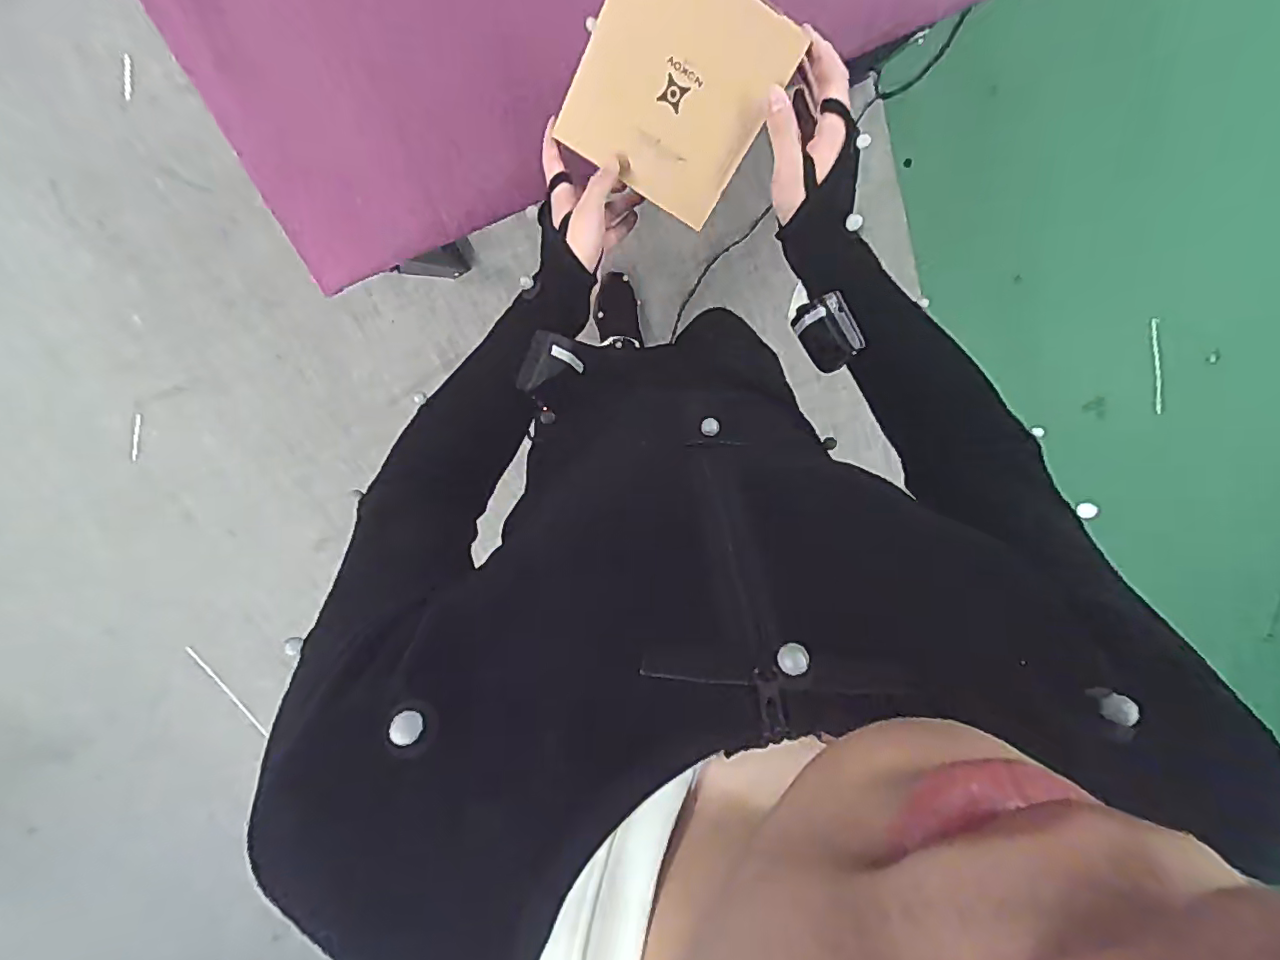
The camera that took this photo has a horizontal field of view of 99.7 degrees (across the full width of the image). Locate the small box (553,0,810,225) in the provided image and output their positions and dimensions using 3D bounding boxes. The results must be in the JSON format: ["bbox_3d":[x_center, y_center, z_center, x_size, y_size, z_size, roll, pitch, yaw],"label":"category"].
[{"bbox_3d":[0.034,-0.391,0.539,0.168,0.176,0.179,28,120,-13],"label":"small box"}]
